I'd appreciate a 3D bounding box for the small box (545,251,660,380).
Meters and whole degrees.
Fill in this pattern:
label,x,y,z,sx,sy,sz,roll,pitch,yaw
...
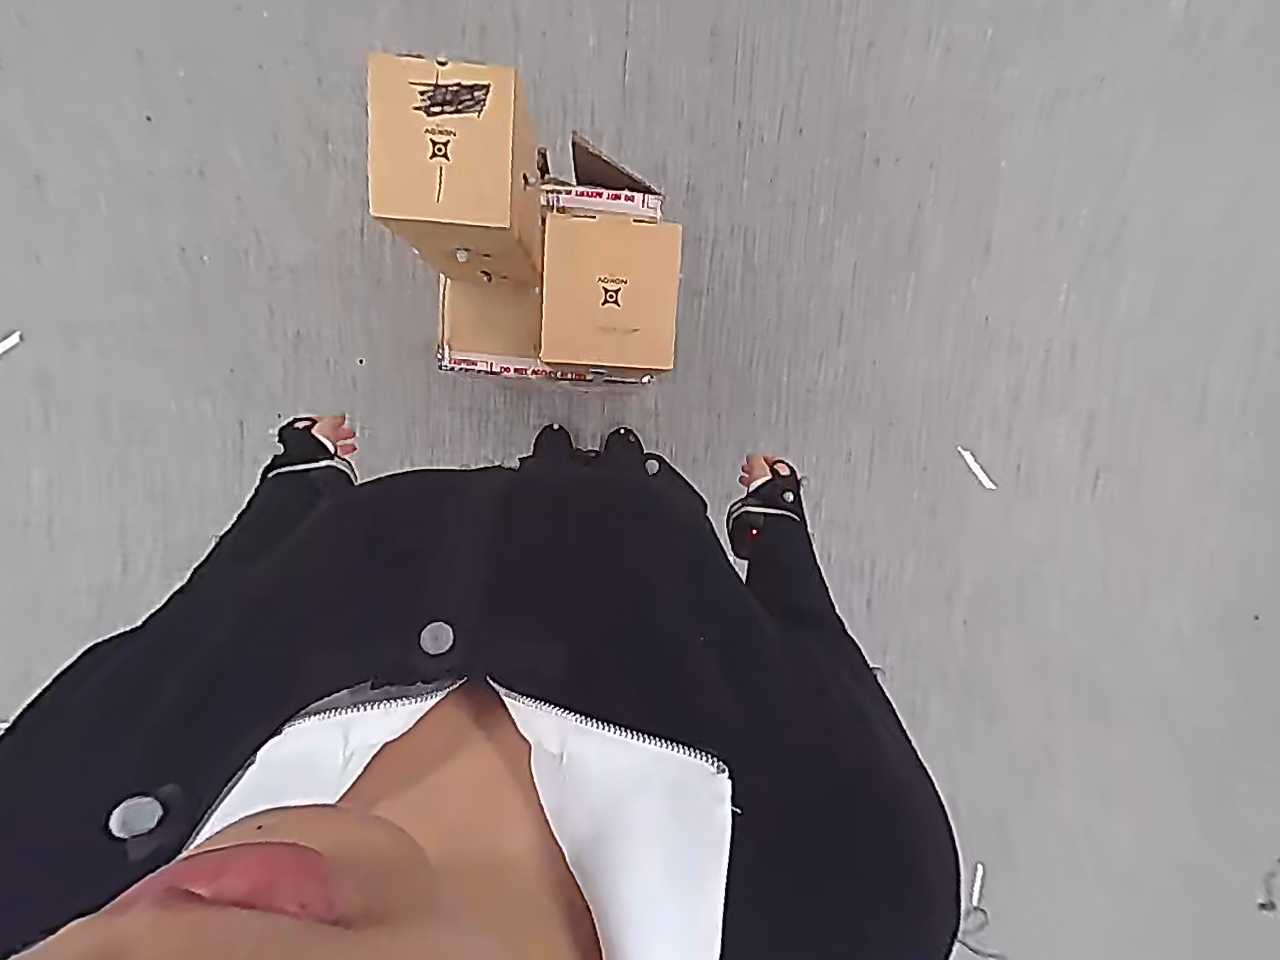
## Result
label,x,y,z,sx,sy,sz,roll,pitch,yaw
small box,-0.062,-0.260,0.894,0.168,0.176,0.179,3,98,-5

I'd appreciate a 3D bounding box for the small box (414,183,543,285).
label,x,y,z,sx,sy,sz,roll,pitch,yaw
small box,-0.250,-0.421,0.860,0.168,0.176,0.179,1,99,-2

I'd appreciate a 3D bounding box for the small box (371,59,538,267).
label,x,y,z,sx,sy,sz,roll,pitch,yaw
small box,-0.228,-0.392,0.699,0.168,0.176,0.179,4,99,-2
